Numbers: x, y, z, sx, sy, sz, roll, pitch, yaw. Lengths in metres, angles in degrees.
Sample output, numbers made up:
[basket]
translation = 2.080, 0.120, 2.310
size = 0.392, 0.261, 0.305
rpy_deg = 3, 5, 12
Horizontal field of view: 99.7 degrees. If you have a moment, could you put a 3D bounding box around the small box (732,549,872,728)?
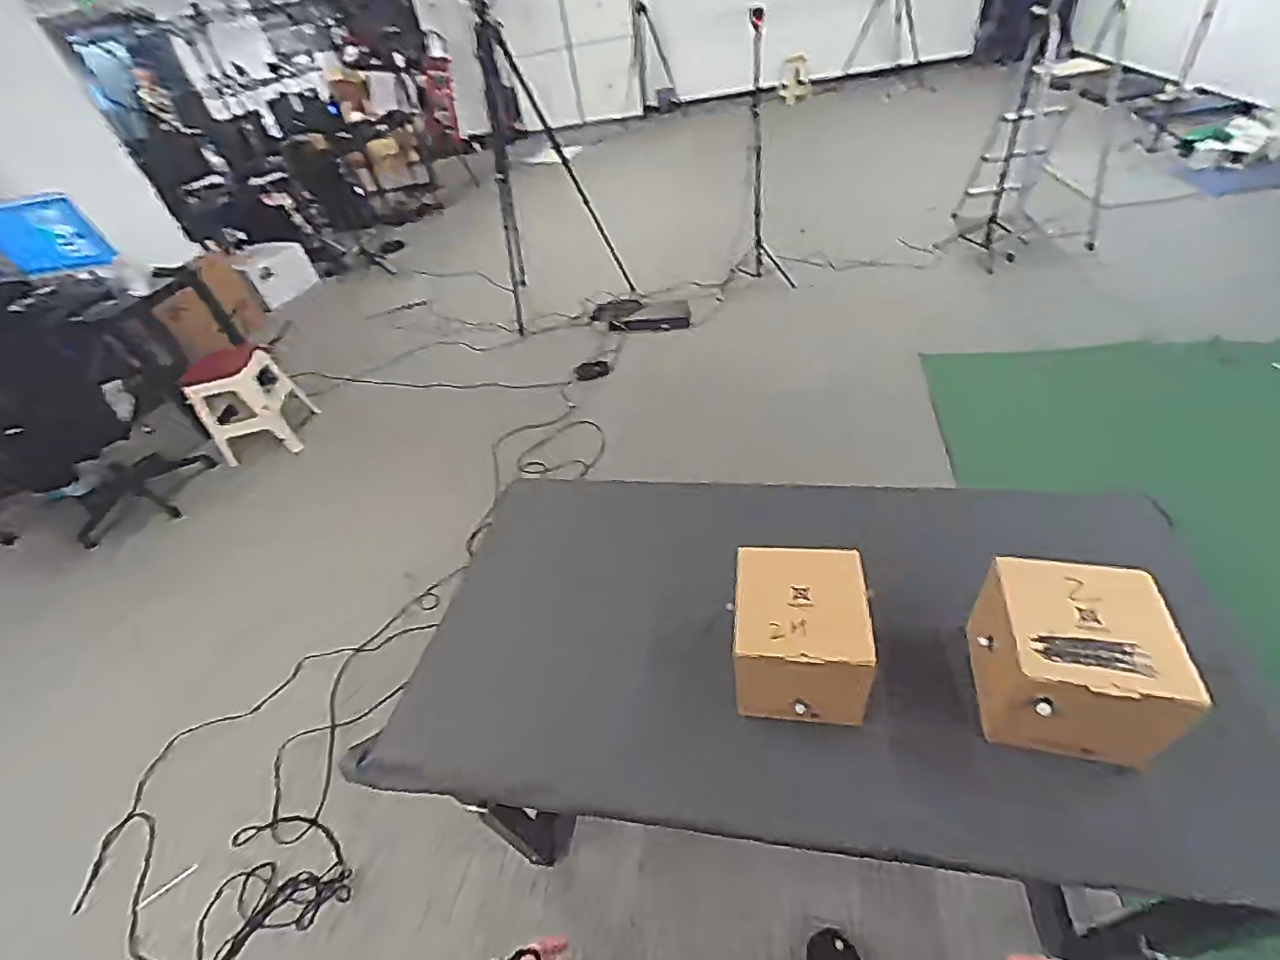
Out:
[small box]
translation = 0.219, 0.220, 0.764
size = 0.168, 0.176, 0.179
rpy_deg = 0, 42, 13
